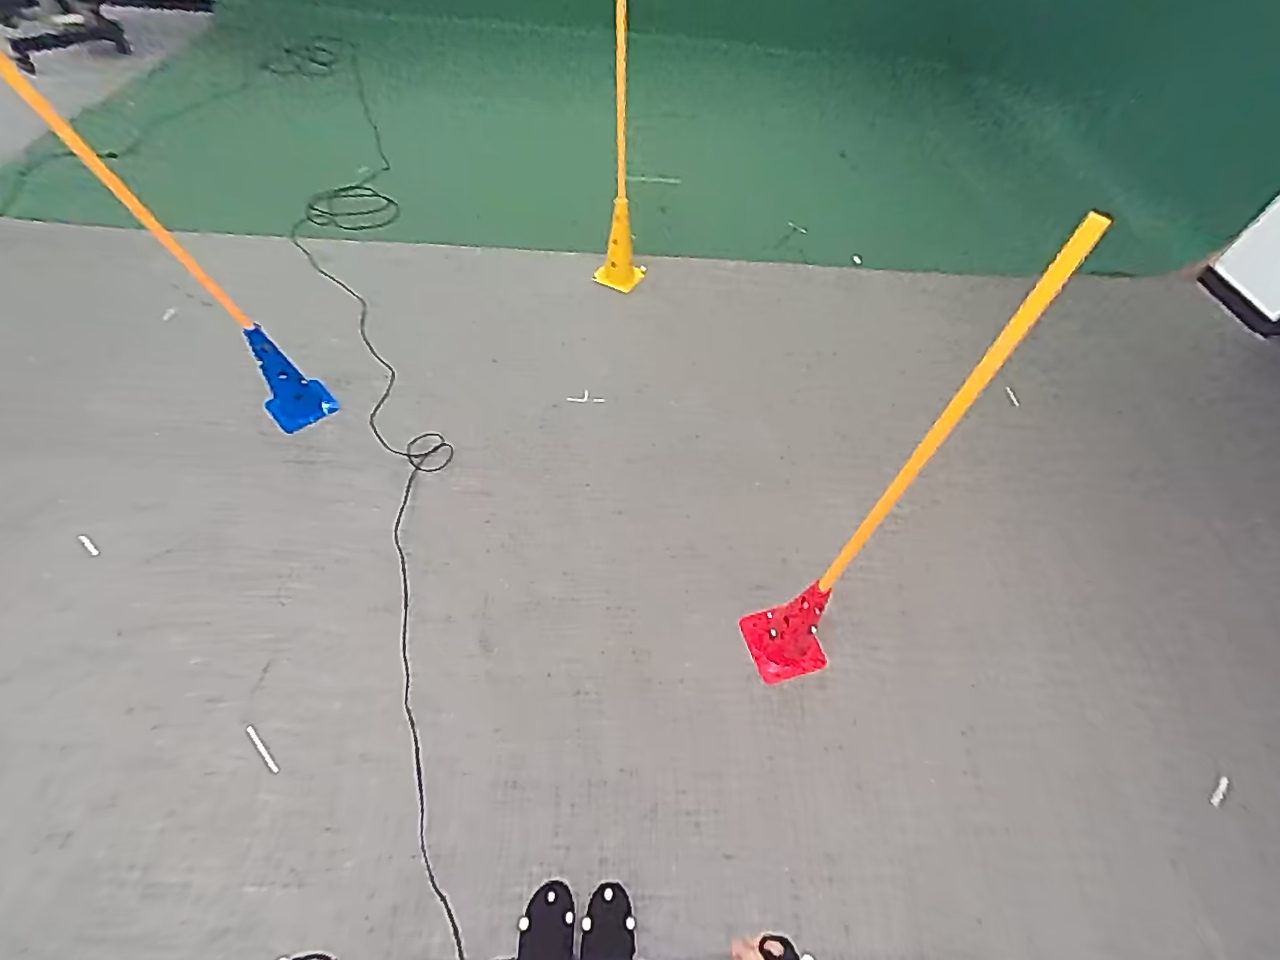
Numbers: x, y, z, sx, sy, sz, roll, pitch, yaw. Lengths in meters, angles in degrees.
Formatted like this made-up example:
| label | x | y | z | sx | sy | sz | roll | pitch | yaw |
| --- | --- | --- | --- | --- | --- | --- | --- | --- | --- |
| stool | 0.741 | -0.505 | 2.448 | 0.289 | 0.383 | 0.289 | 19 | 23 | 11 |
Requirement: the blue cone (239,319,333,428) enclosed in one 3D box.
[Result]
| label | x | y | z | sx | sy | sz | roll | pitch | yaw |
| --- | --- | --- | --- | --- | --- | --- | --- | --- | --- |
| blue cone | -1.202 | -0.365 | 1.785 | 0.192 | 0.380 | 0.193 | 40 | 63 | 21 |
